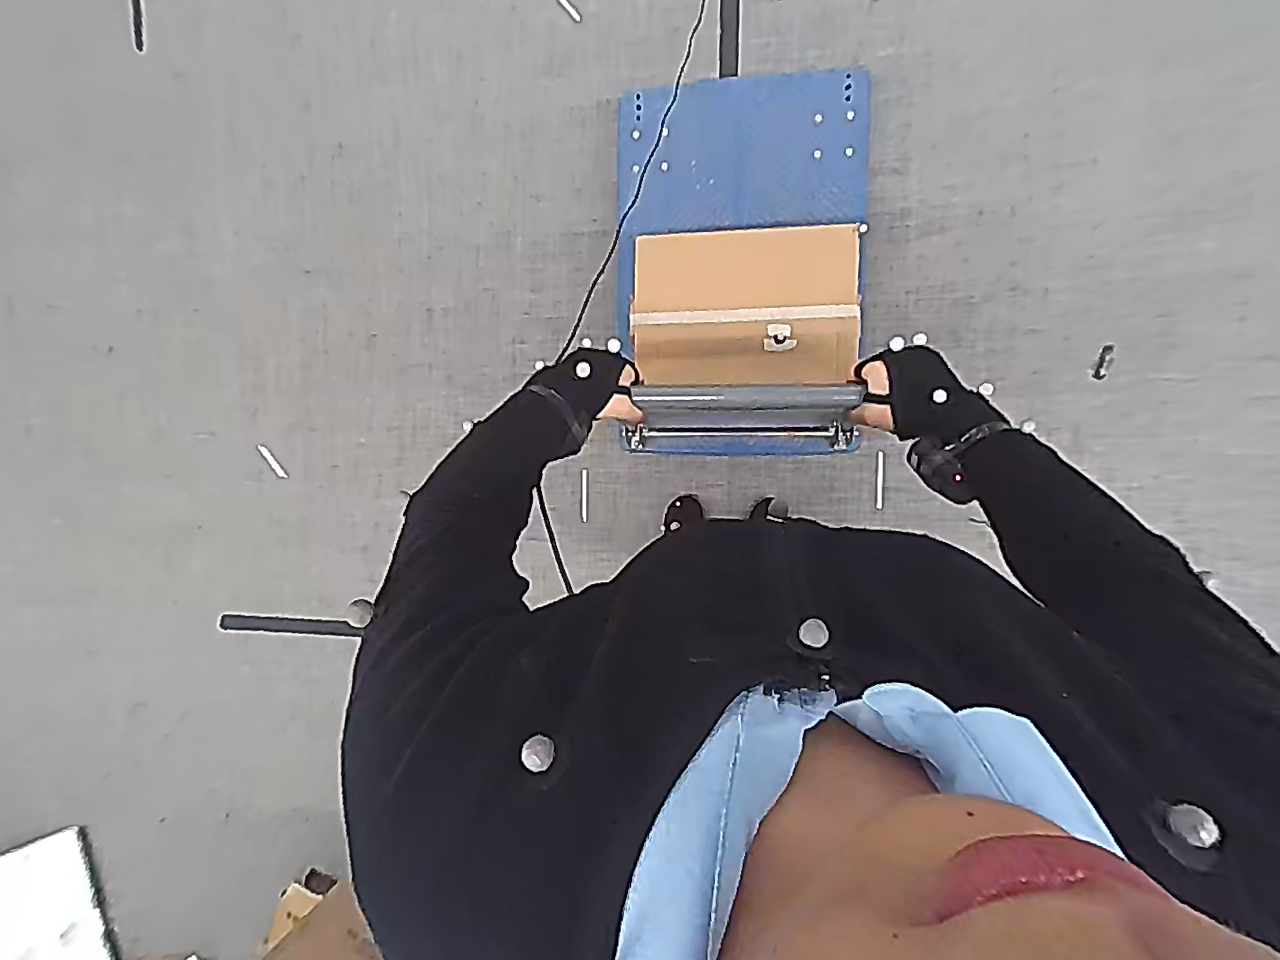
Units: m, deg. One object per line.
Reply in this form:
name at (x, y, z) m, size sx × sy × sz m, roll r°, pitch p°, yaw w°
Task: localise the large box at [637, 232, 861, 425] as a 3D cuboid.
large box at (0.212, -0.286, 1.127) m, size 0.408 × 0.320 × 0.320 m, roll 1°, pitch 92°, yaw 8°
